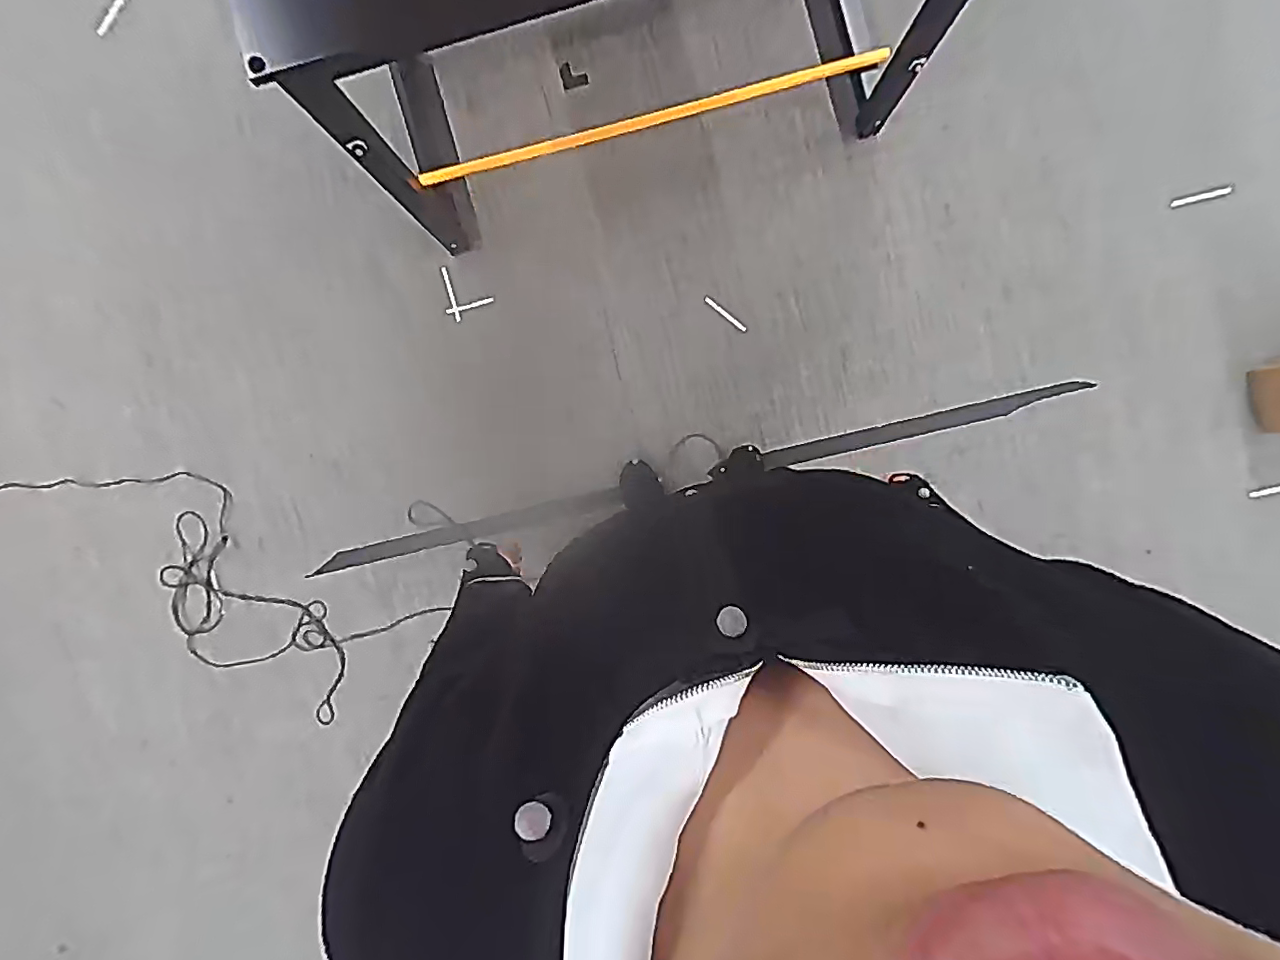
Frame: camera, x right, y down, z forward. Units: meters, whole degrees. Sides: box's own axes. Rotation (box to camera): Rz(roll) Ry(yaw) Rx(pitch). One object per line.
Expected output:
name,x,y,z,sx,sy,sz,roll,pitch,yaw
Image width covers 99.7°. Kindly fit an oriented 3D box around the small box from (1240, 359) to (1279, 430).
small box,1.696,-0.227,1.365,0.168,0.176,0.179,-15,93,2
